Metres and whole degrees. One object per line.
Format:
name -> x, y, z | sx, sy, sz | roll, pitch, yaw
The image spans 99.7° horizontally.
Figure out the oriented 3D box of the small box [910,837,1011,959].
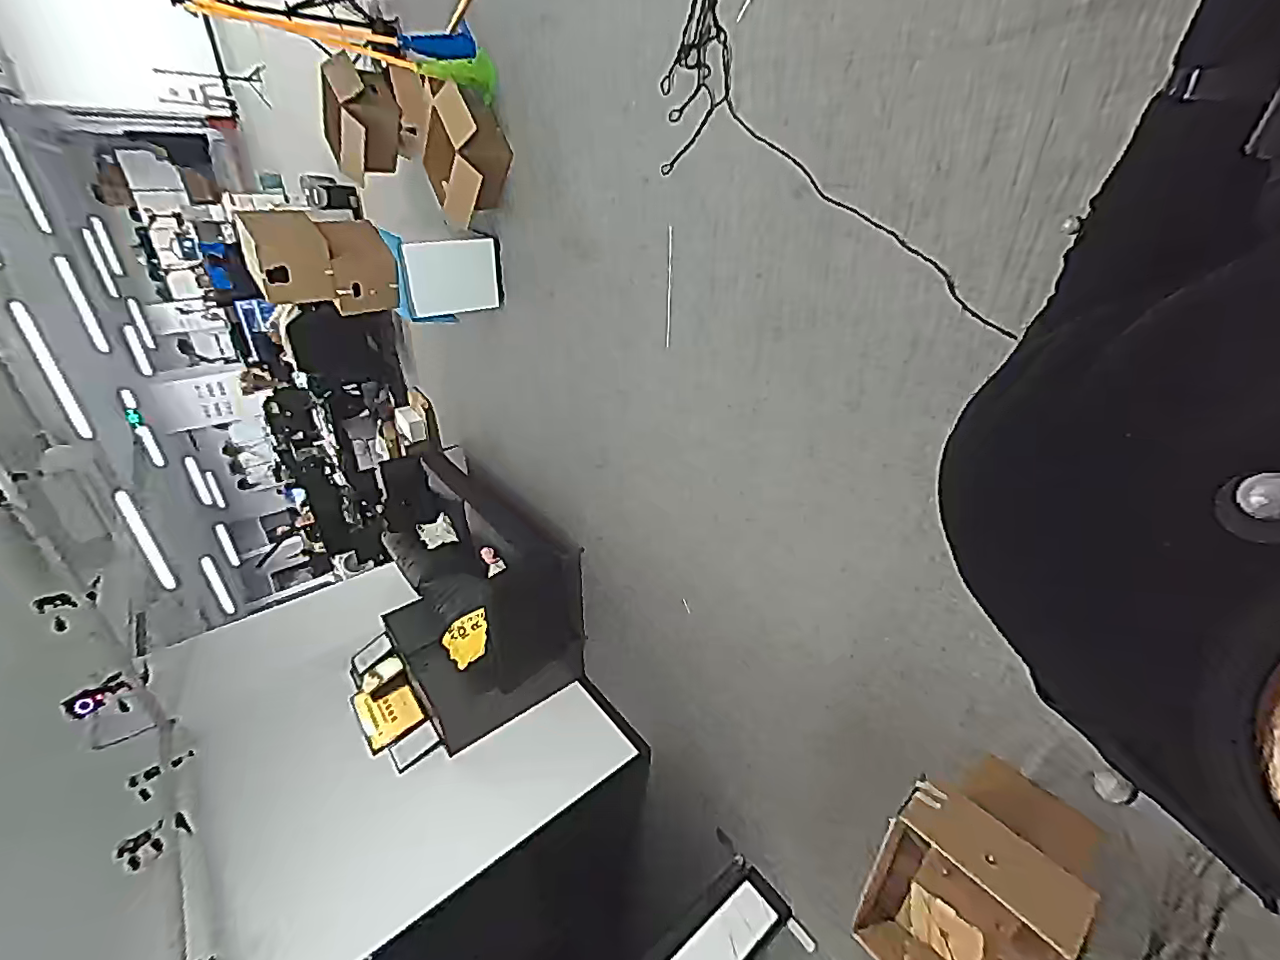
small box -> 0.796, 1.046, 1.341 | 0.168, 0.176, 0.179 | 16, 120, 51
